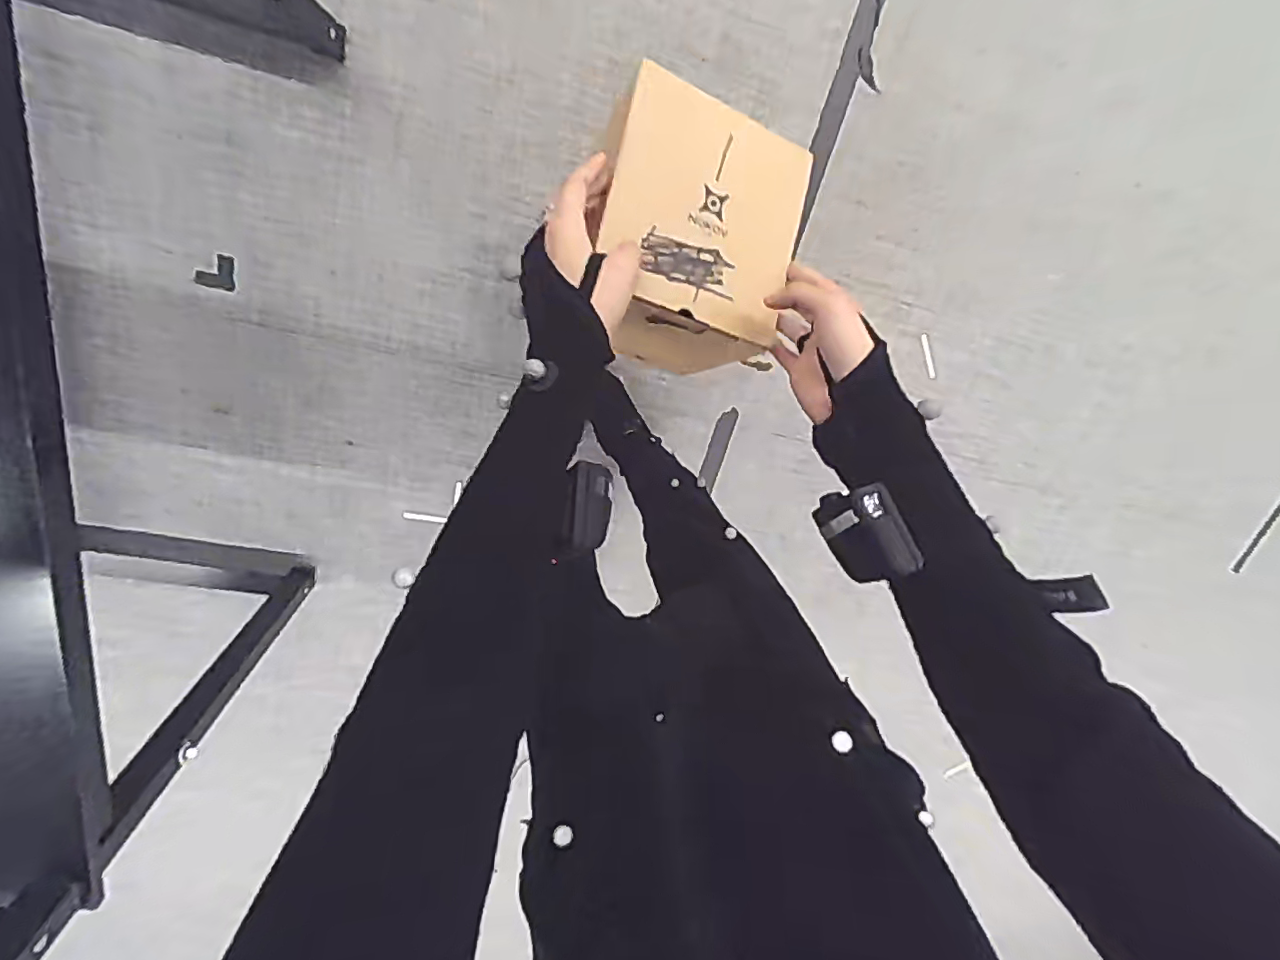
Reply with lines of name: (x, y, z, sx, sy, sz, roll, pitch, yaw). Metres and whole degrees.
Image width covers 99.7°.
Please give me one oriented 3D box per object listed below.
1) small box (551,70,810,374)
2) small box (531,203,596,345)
small box: (0.025, -0.211, 0.506, 0.168, 0.176, 0.179, 15, 86, -22)
small box: (-0.058, -0.294, 0.789, 0.179, 0.176, 0.168, 7, 112, -11)
